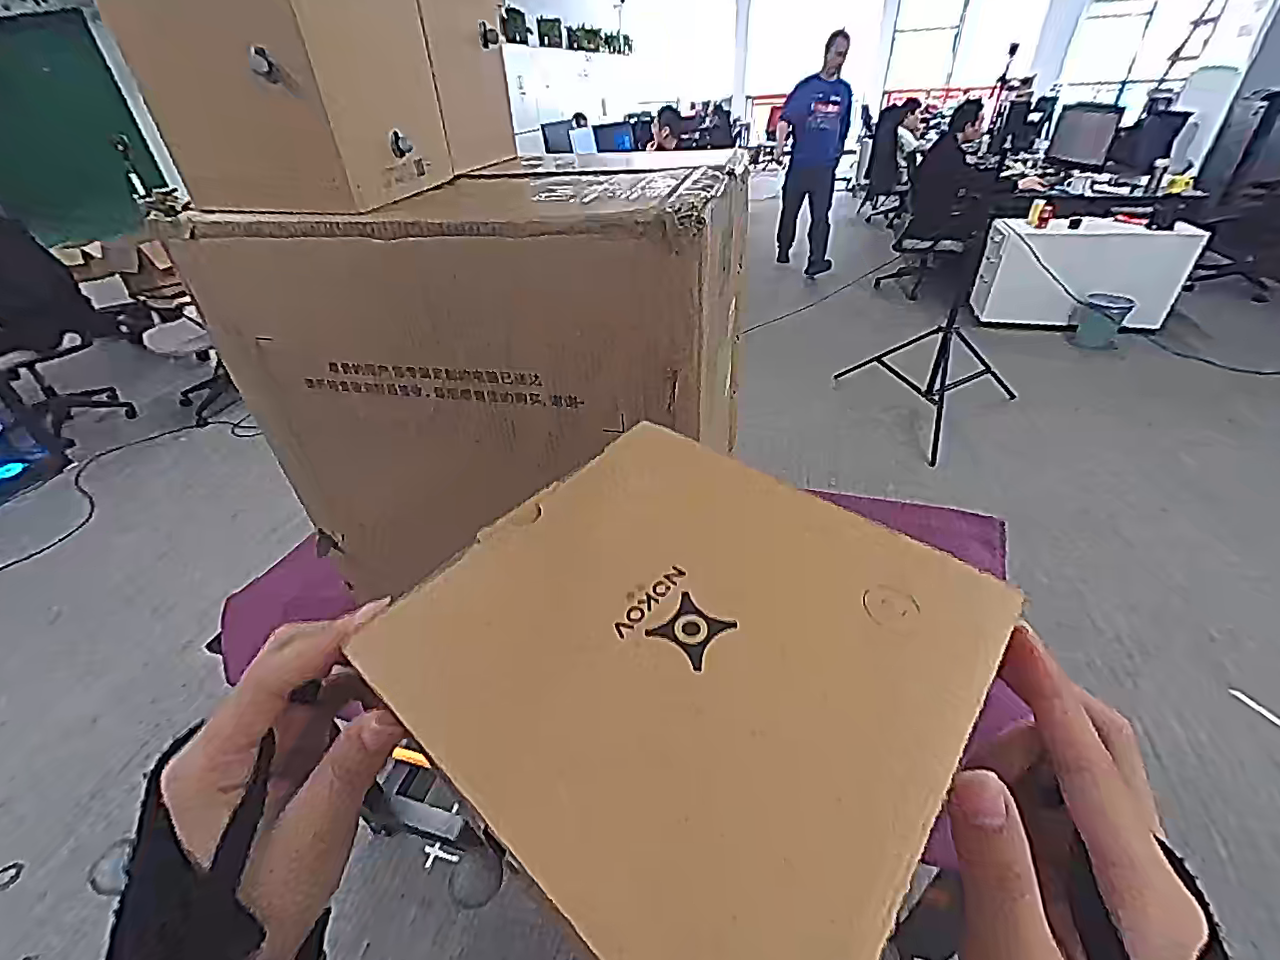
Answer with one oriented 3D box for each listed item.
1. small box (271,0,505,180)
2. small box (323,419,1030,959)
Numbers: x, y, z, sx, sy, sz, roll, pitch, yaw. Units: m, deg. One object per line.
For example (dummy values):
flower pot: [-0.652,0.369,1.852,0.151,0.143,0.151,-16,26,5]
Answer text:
small box: [-0.271,-0.456,0.627,0.168,0.176,0.179,6,37,13]
small box: [0.016,0.106,0.230,0.179,0.176,0.168,27,50,32]
